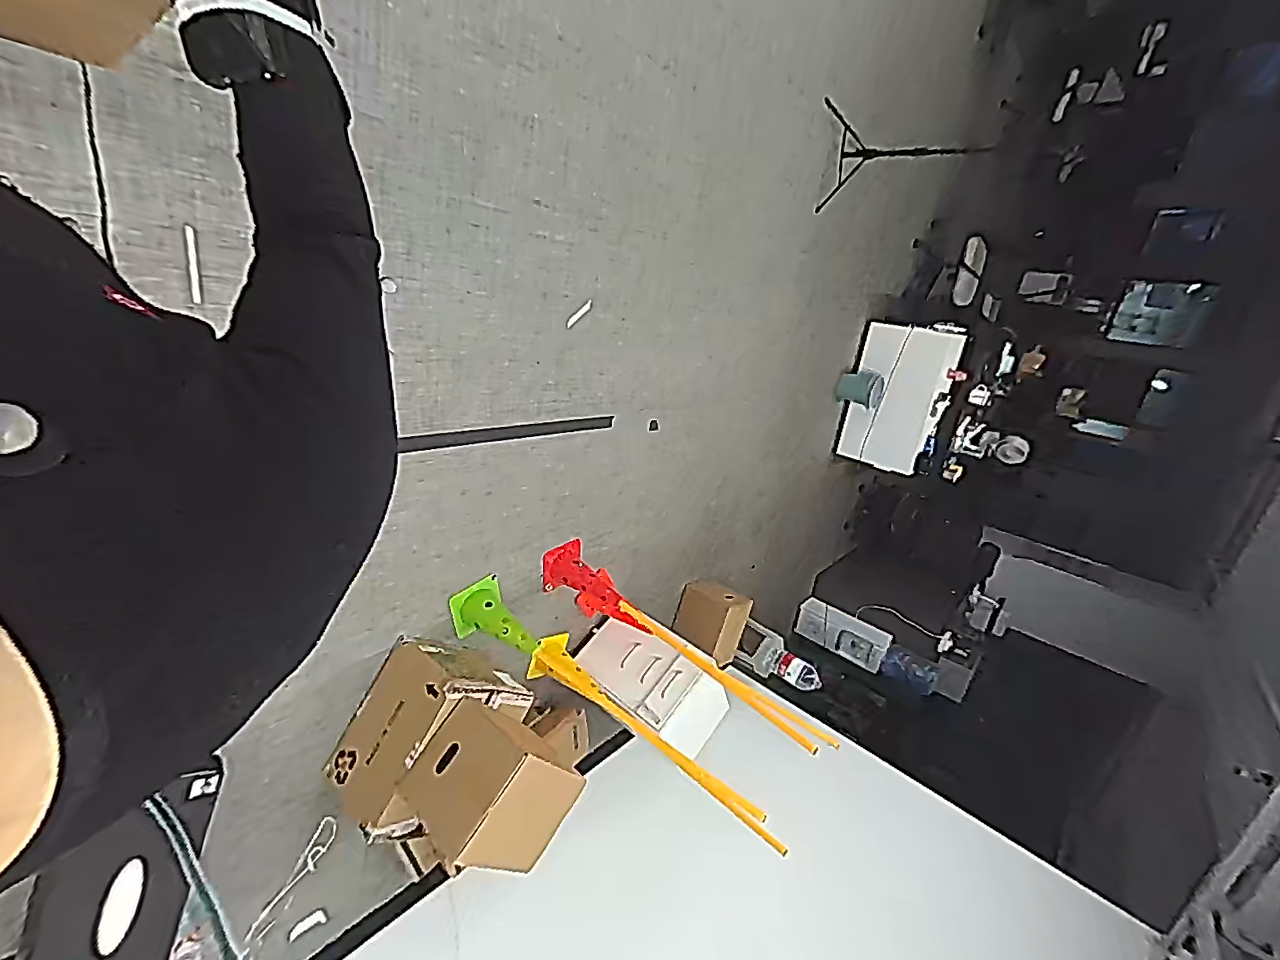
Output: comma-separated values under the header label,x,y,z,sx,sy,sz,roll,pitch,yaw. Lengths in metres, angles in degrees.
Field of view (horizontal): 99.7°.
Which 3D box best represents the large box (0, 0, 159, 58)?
label,x,y,z,sx,sy,sz,roll,pitch,yaw
large box,-0.510,-0.477,0.243,0.408,0.320,0.320,-17,117,-50
